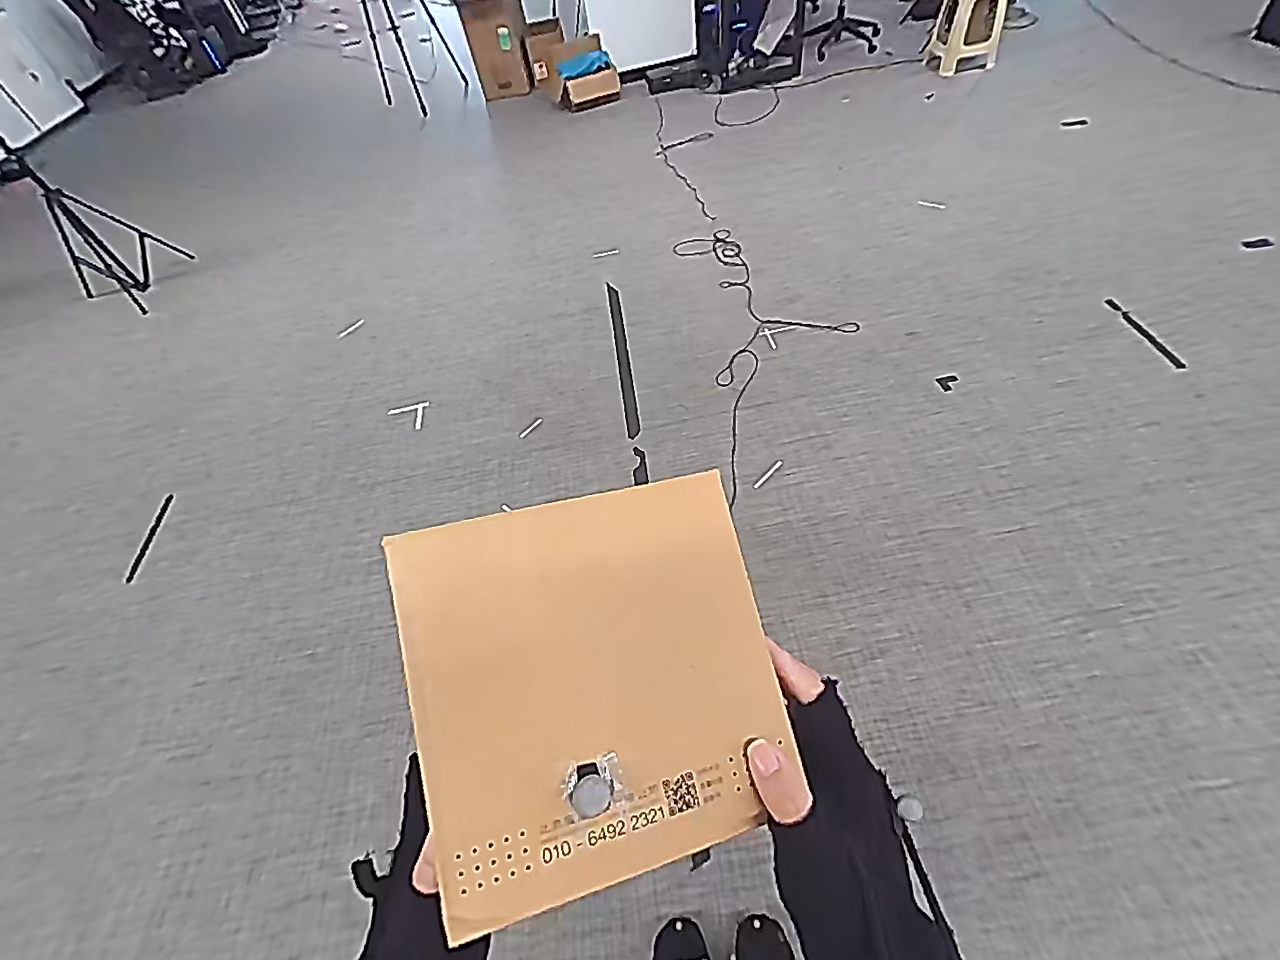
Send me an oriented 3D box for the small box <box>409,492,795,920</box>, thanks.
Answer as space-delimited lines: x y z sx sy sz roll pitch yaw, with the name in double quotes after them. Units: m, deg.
-0.031 0.120 0.340 0.168 0.179 0.176 -12 79 -15 "small box"
